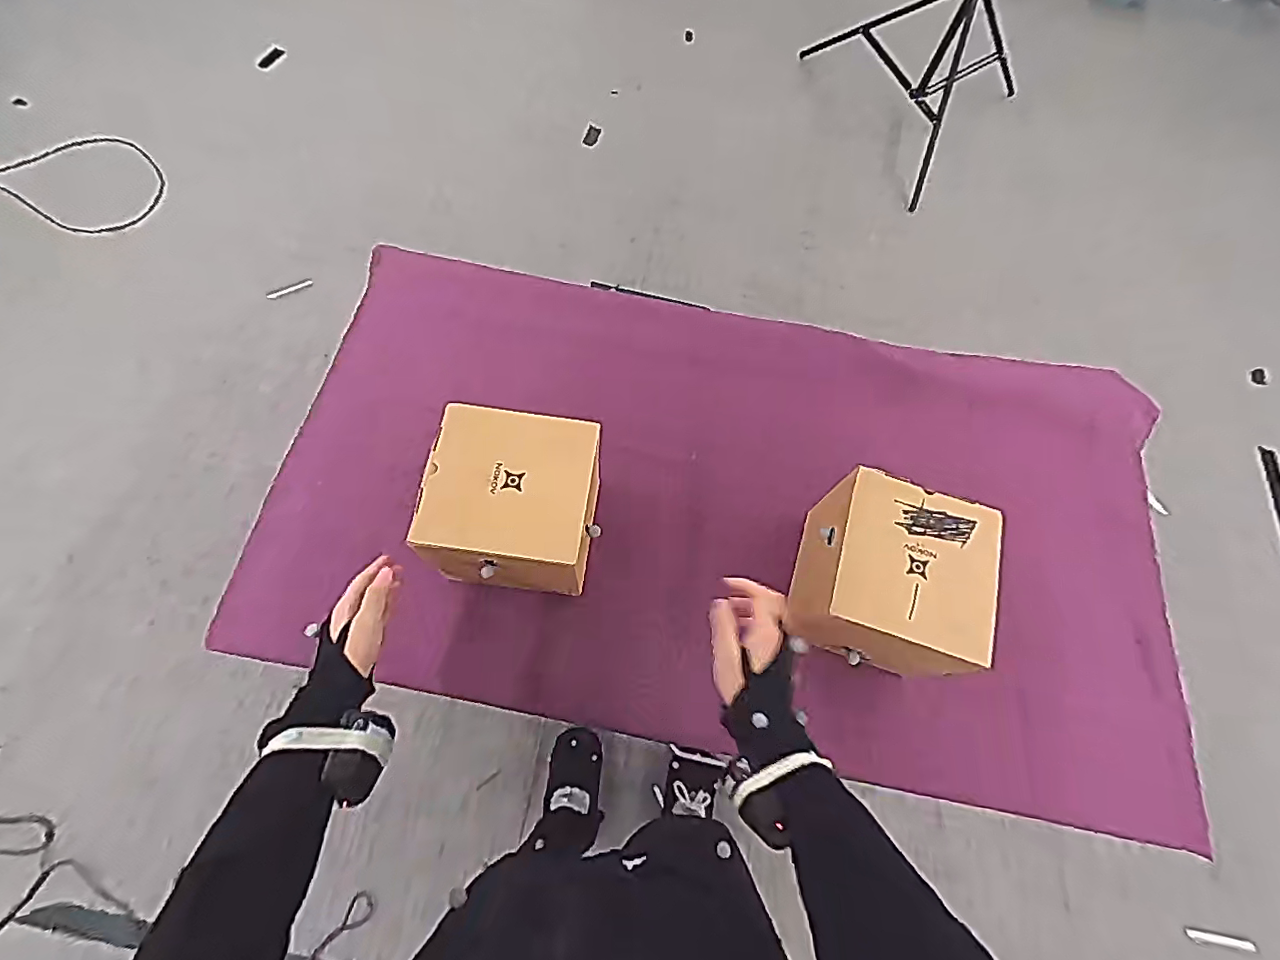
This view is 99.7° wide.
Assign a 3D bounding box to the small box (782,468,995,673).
[{"bbox_3d":[0.284,0.116,0.646,0.168,0.176,0.179,19,68,4],"label":"small box"}]

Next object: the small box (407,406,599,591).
[{"bbox_3d":[-0.146,0.033,0.652,0.179,0.176,0.168,8,67,-1],"label":"small box"}]
